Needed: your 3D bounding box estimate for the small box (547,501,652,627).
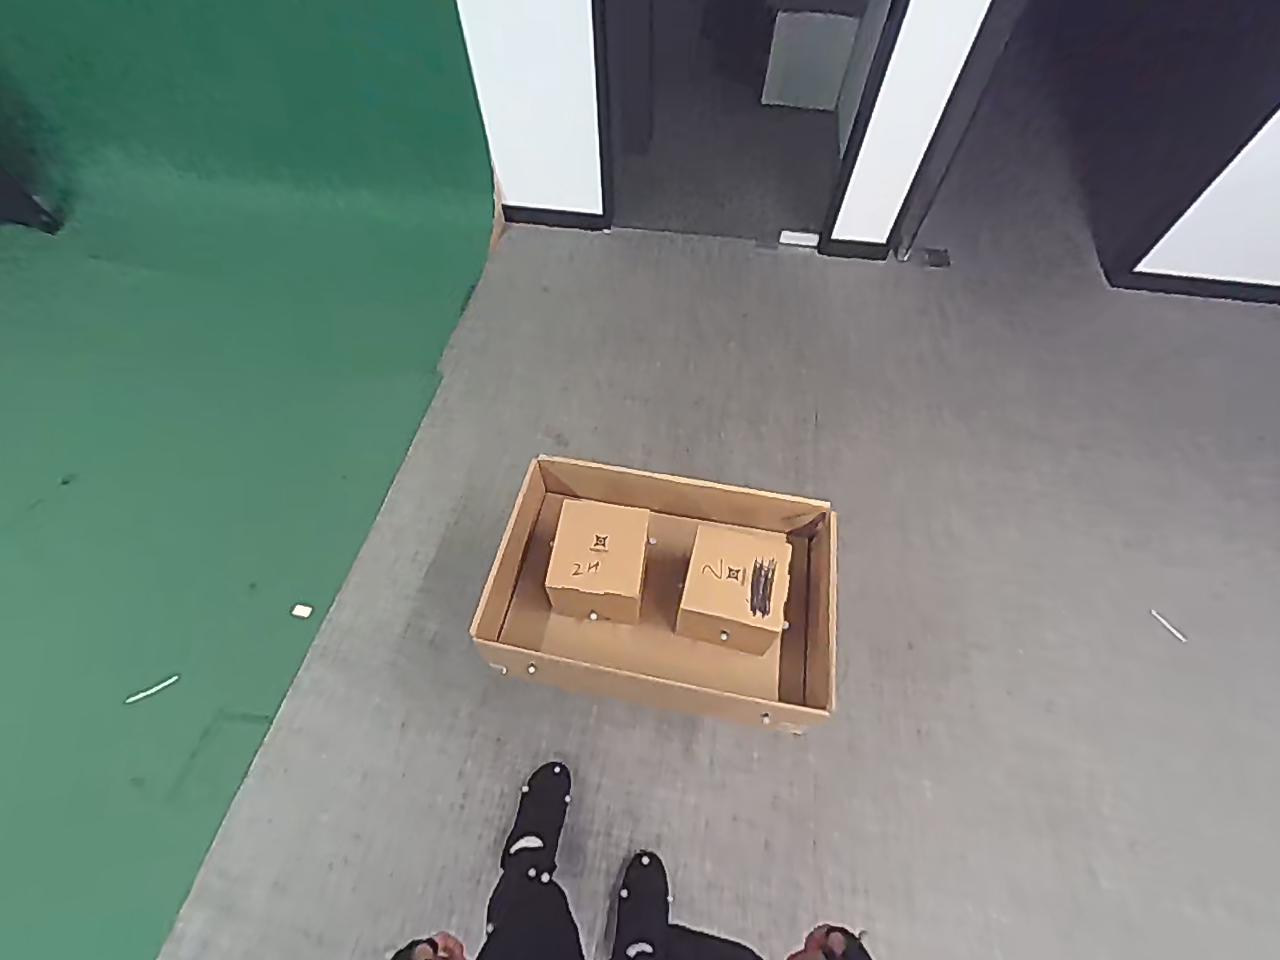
[{"bbox_3d":[-0.071,0.164,1.039,0.168,0.176,0.179,7,58,4],"label":"small box"}]
